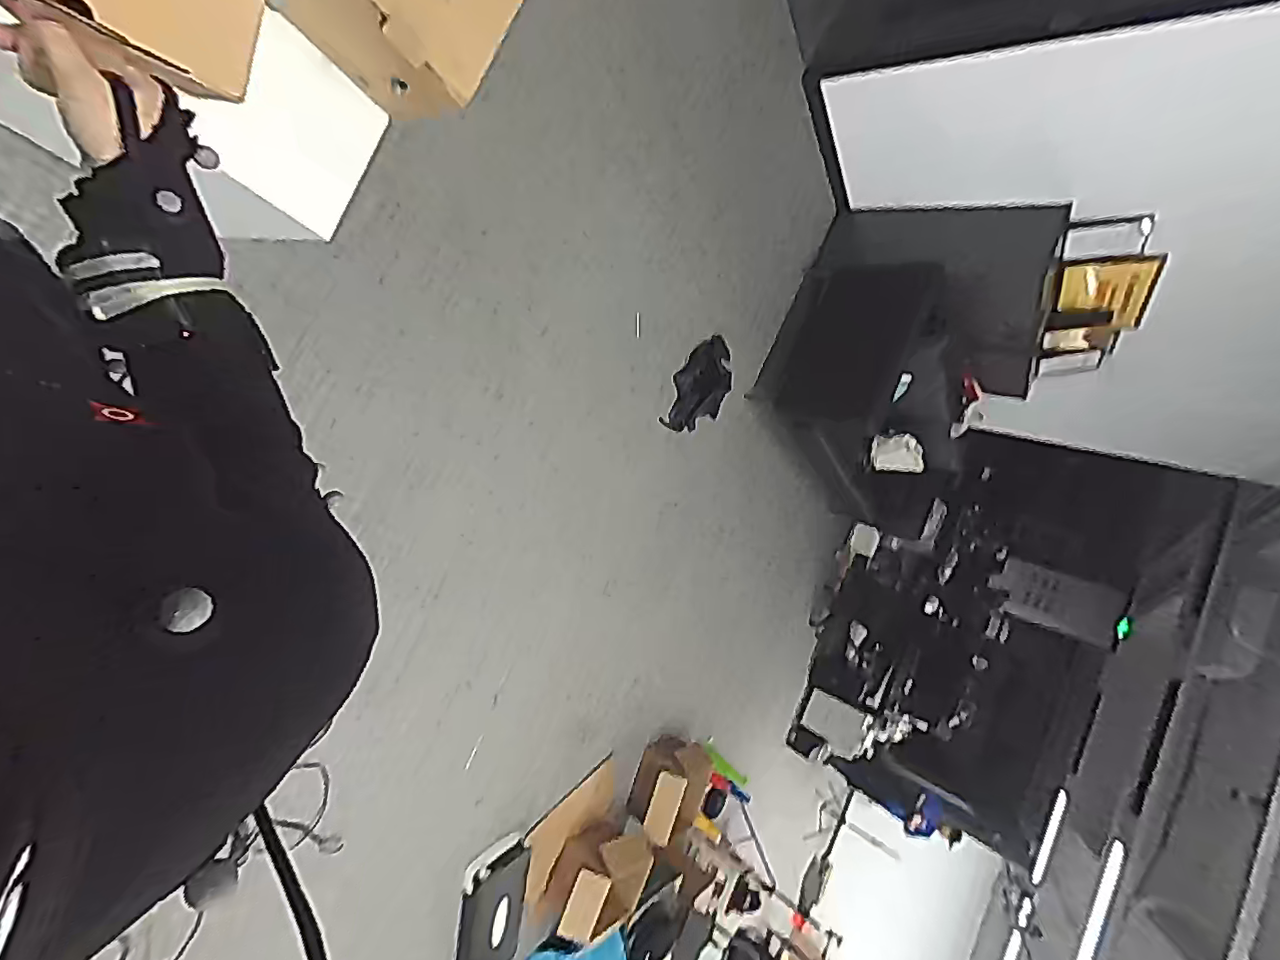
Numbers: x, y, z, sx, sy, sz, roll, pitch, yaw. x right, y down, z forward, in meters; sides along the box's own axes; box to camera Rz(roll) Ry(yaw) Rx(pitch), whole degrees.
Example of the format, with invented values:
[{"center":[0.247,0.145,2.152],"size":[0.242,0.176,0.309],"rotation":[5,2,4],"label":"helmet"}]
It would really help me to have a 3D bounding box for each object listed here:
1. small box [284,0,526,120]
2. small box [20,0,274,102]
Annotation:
[{"center":[-0.268,-0.545,0.609],"size":[0.168,0.176,0.179],"rotation":[33,78,-56],"label":"small box"},{"center":[-0.346,-0.387,0.347],"size":[0.168,0.176,0.179],"rotation":[8,112,-51],"label":"small box"}]
